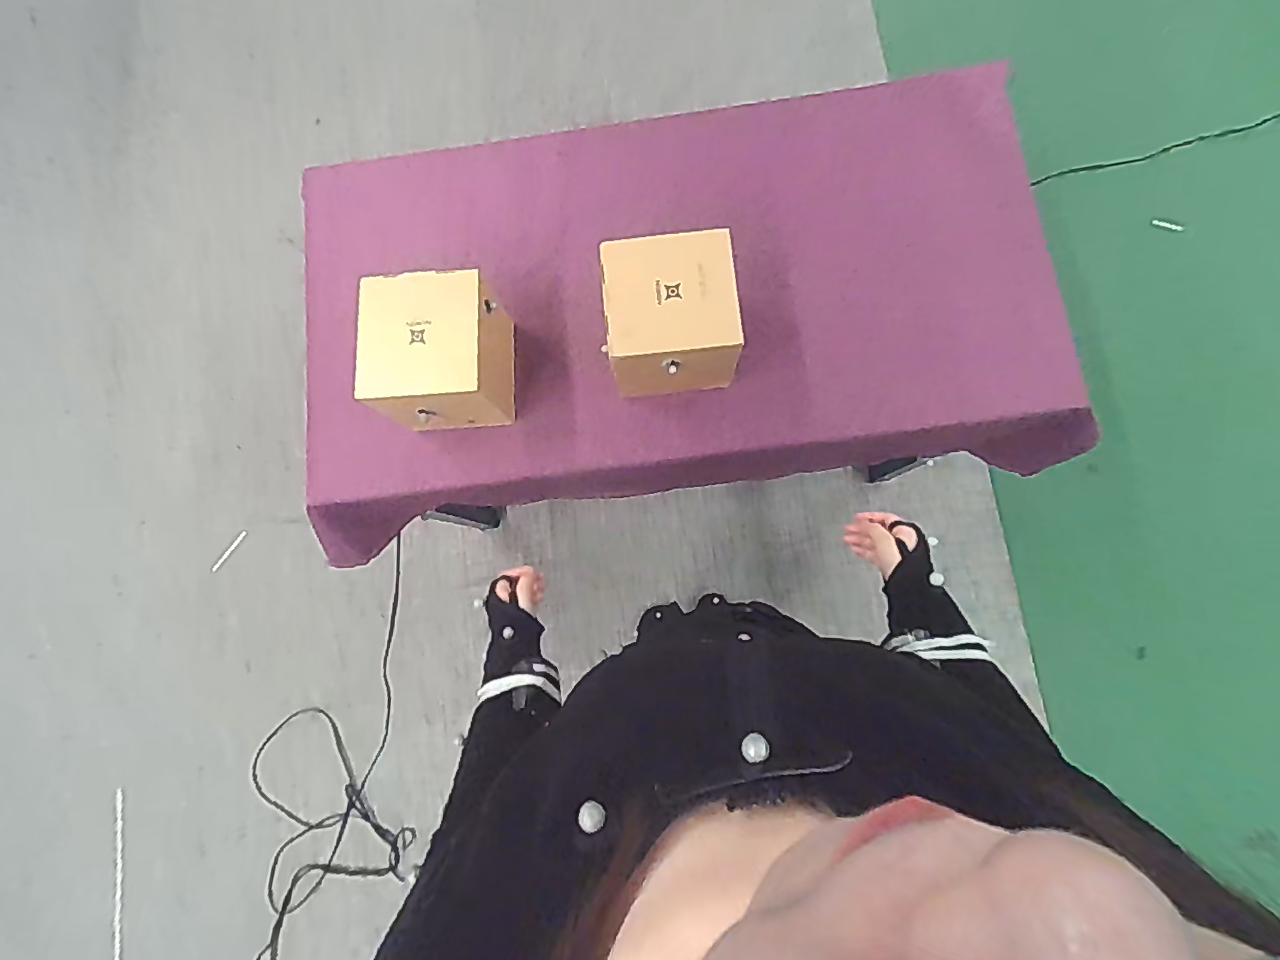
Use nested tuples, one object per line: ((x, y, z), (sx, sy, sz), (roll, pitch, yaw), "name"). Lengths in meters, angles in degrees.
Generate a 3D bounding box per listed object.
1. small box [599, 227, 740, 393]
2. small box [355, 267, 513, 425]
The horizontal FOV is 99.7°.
((0.041, -0.233, 0.781), (0.179, 0.176, 0.168), (-5, 80, 2), "small box")
((-0.289, -0.183, 0.794), (0.168, 0.176, 0.179), (-3, 79, 3), "small box")
